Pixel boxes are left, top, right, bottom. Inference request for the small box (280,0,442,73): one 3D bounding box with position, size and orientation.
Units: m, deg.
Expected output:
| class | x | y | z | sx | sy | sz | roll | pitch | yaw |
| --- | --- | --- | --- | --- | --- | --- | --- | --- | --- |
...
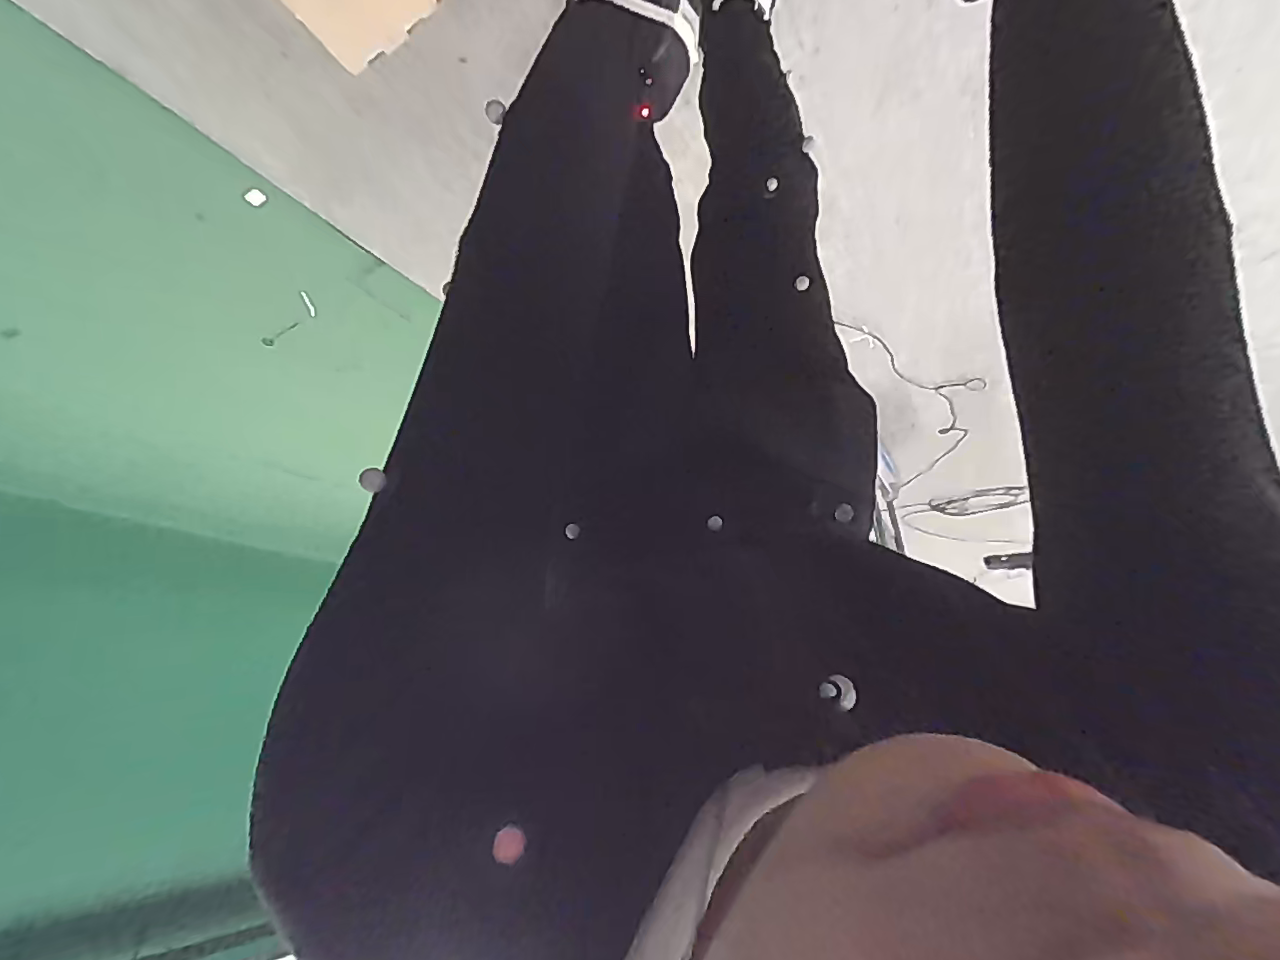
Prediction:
| class | x | y | z | sx | sy | sz | roll | pitch | yaw |
| --- | --- | --- | --- | --- | --- | --- | --- | --- | --- |
| small box | -0.343 | -0.646 | 0.630 | 0.168 | 0.176 | 0.179 | -11 | 157 | 26 |
